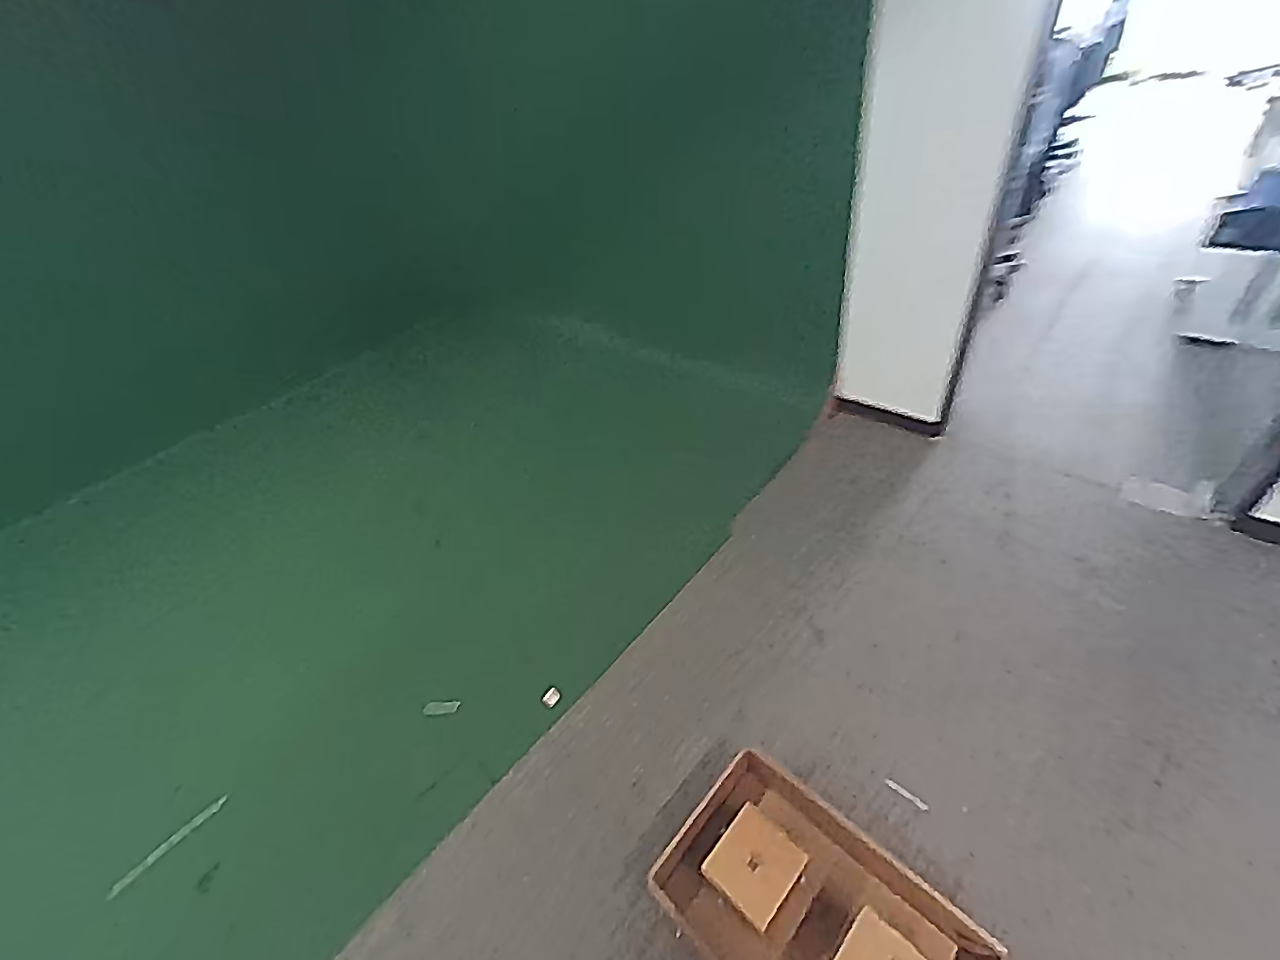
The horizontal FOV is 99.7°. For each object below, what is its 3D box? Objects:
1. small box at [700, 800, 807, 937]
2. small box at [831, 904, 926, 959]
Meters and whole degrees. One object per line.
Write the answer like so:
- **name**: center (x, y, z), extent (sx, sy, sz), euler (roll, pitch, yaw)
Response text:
- **small box**: center (0.259, 0.883, 1.225), extent (0.168, 0.176, 0.179), euler (30, 56, 35)
- **small box**: center (0.464, 0.992, 1.057), extent (0.179, 0.176, 0.168), euler (-38, 48, -26)
